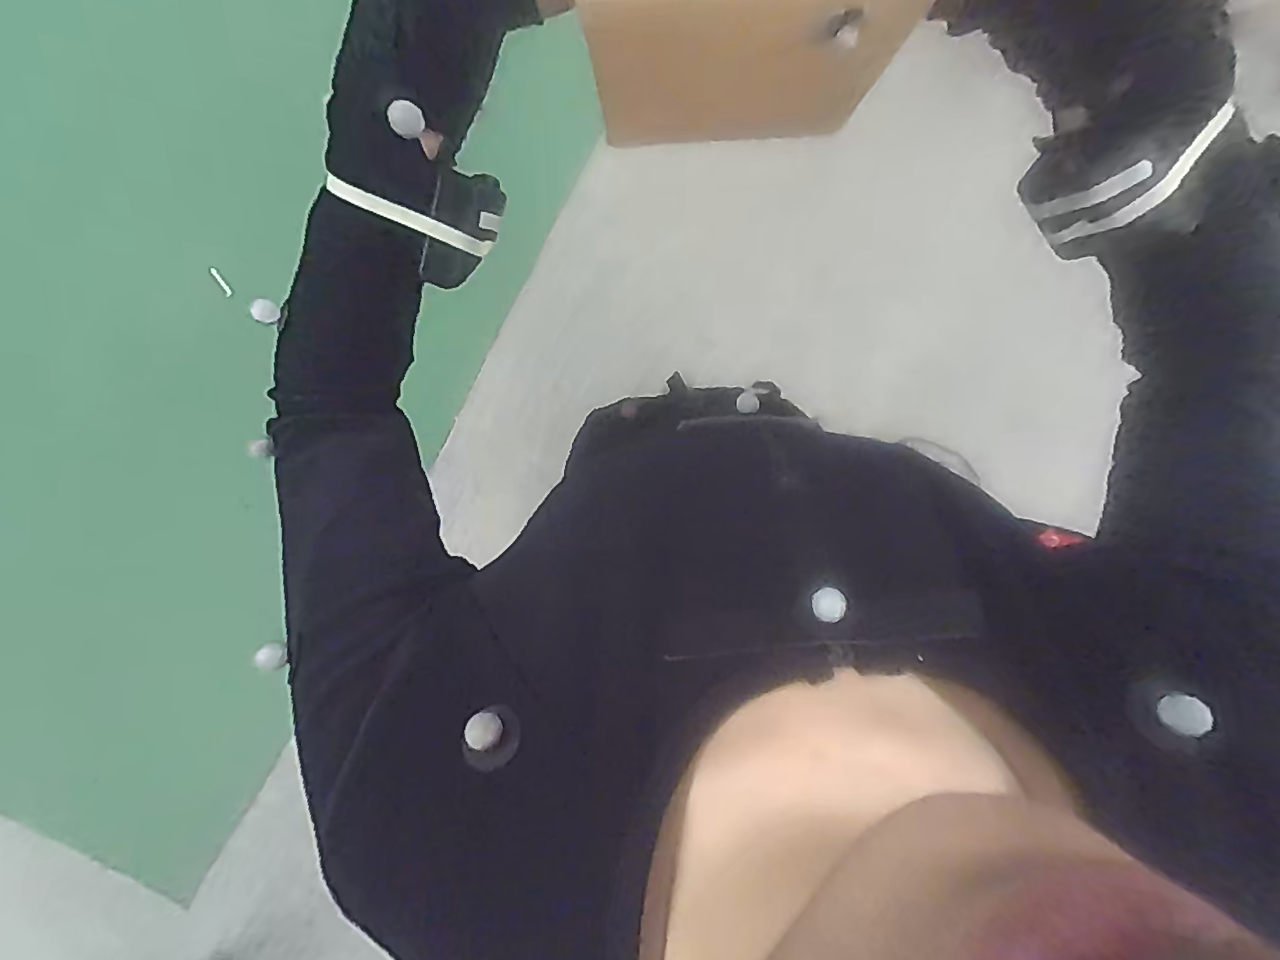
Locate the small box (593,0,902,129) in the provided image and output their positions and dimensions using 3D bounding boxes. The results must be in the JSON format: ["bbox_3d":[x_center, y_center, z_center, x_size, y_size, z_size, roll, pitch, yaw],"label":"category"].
[{"bbox_3d":[0.058,-0.330,0.313,0.179,0.176,0.168,-3,101,1],"label":"small box"}]
